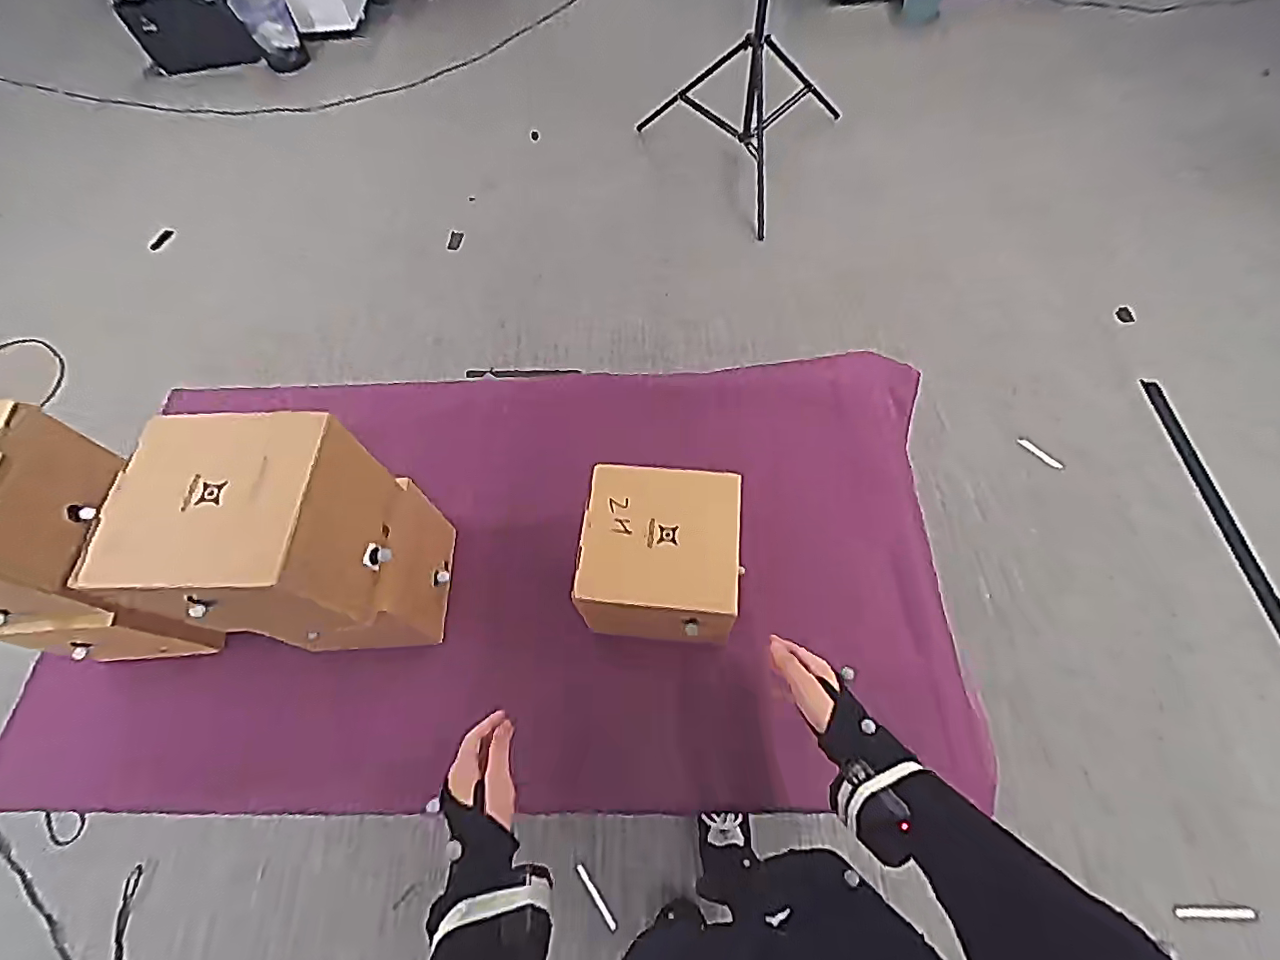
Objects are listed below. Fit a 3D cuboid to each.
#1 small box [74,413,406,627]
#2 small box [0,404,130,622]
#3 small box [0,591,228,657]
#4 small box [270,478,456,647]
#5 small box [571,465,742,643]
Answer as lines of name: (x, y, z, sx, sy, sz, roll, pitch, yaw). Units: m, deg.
small box: (-0.365, 0.048, 0.537, 0.179, 0.176, 0.168, -1, 64, 2)
small box: (-0.665, 0.043, 0.557, 0.179, 0.176, 0.168, -6, 61, 0)
small box: (-0.650, 0.126, 0.699, 0.168, 0.176, 0.179, -5, 62, 1)
small box: (-0.356, 0.112, 0.687, 0.179, 0.176, 0.168, -3, 62, 1)
small box: (0.027, 0.098, 0.668, 0.179, 0.176, 0.168, 4, 62, 6)
